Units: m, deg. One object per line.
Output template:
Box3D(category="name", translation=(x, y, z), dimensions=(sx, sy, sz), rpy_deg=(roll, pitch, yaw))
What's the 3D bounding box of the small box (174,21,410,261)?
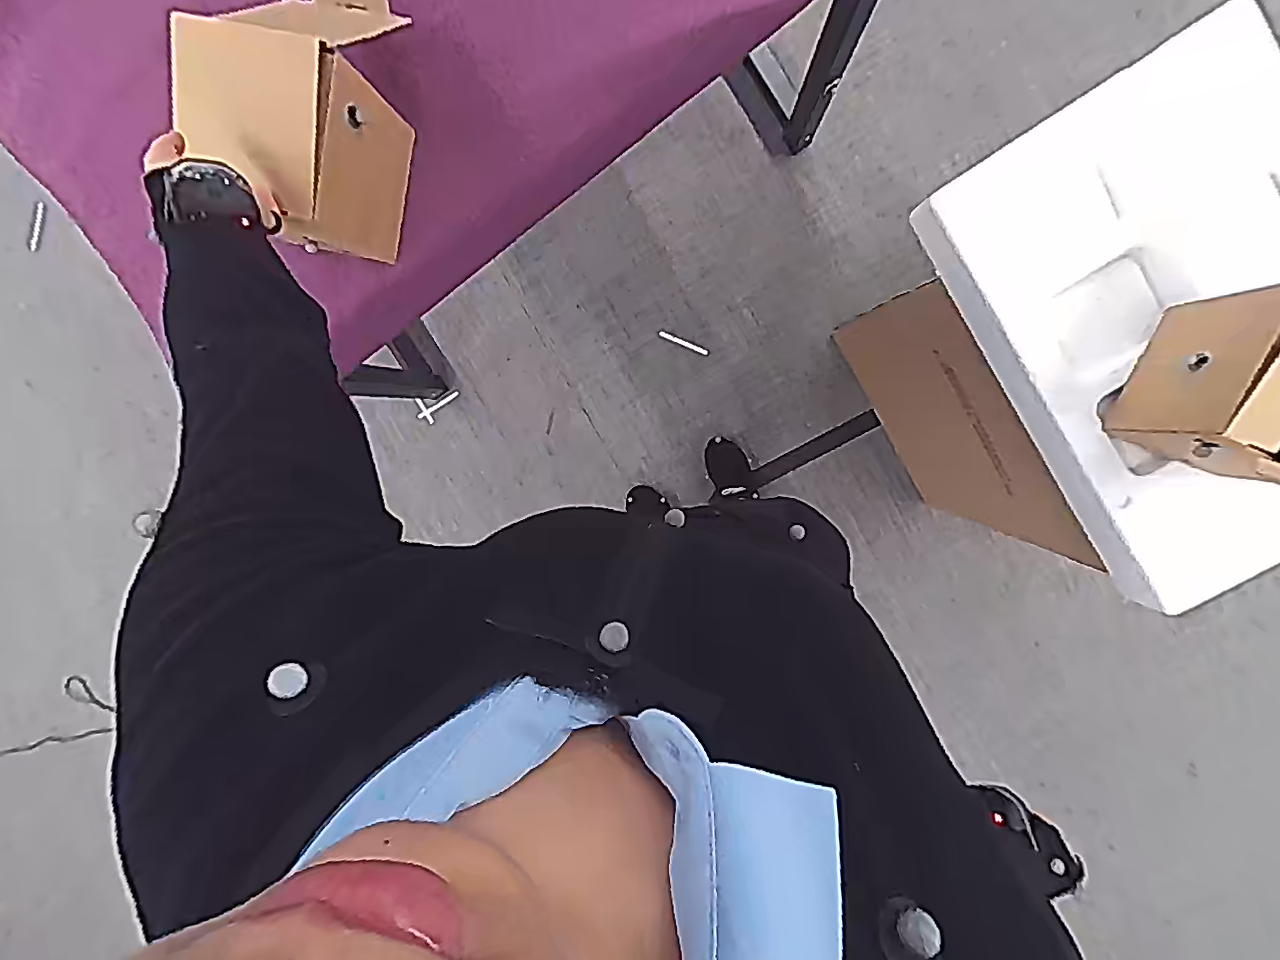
Box3D(category="small box", translation=(-0.403, -0.392, 0.655), dimensions=(0.168, 0.176, 0.179), rpy_deg=(13, 97, 4))
